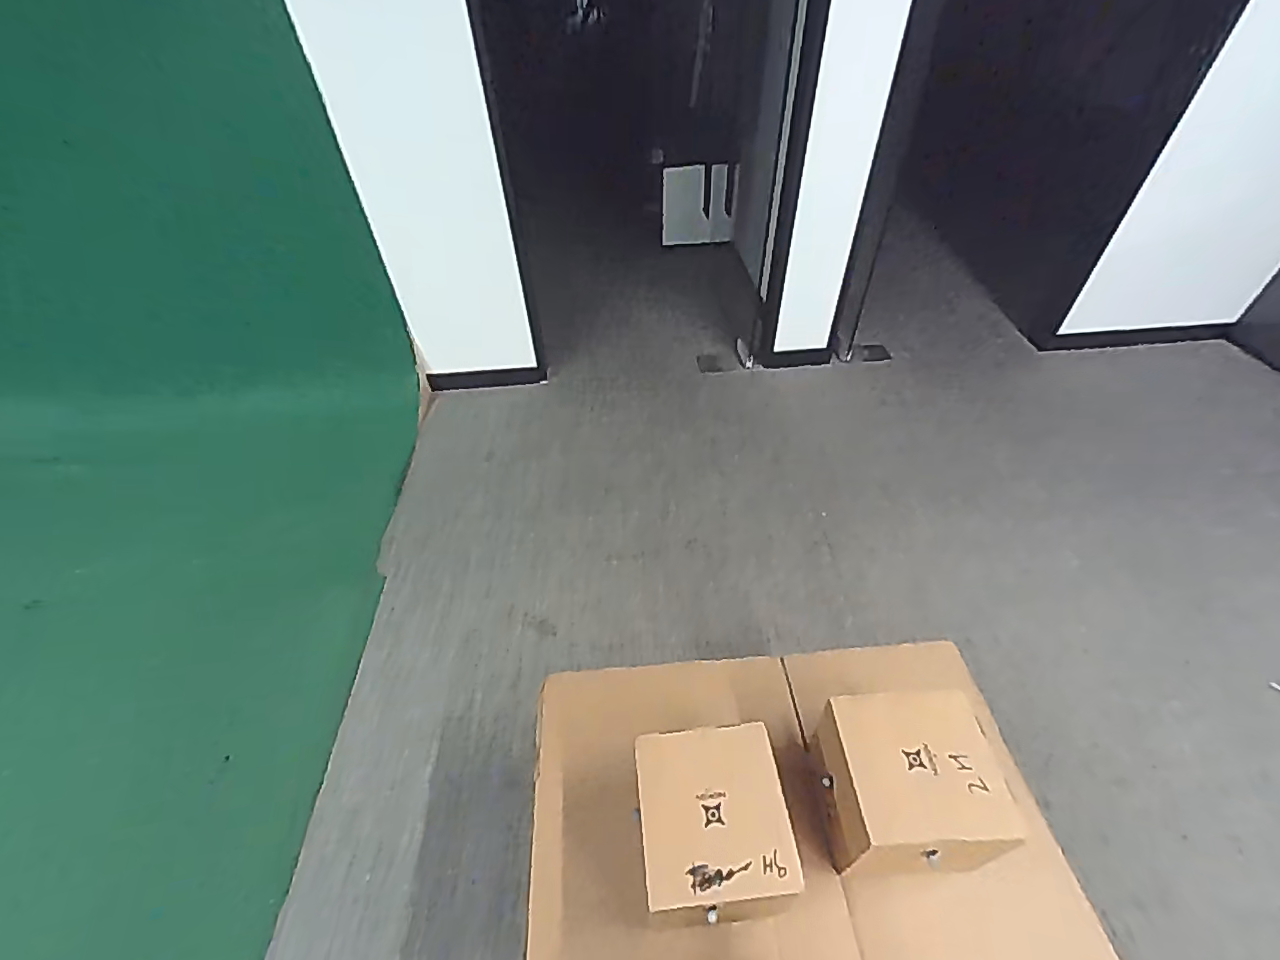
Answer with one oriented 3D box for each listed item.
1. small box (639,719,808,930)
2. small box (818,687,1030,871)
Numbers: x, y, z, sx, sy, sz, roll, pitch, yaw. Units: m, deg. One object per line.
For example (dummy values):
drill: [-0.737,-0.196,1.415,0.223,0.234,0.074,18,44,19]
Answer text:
small box: [0.088,0.423,0.666,0.168,0.176,0.179,-6,44,-2]
small box: [0.337,0.384,0.691,0.179,0.176,0.168,-4,45,2]
